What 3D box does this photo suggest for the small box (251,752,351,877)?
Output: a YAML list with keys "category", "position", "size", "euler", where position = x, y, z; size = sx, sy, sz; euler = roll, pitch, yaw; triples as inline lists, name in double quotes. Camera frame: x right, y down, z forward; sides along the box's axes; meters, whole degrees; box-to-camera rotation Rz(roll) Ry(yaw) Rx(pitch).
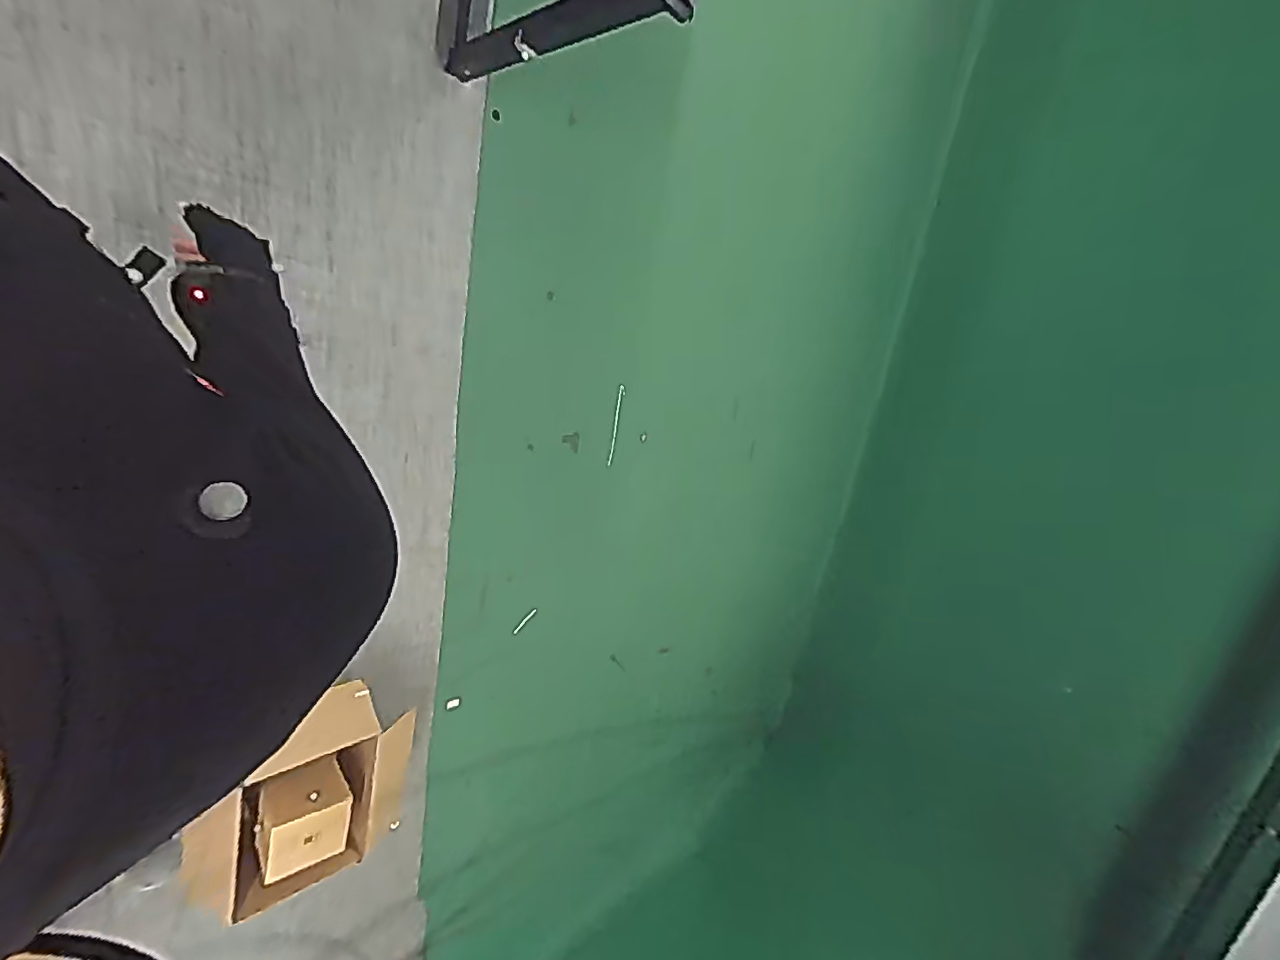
- category: "small box"
  position: [-0.856, 0.828, 1.359]
  size: [0.179, 0.176, 0.168]
  euler: [0, 108, -47]
